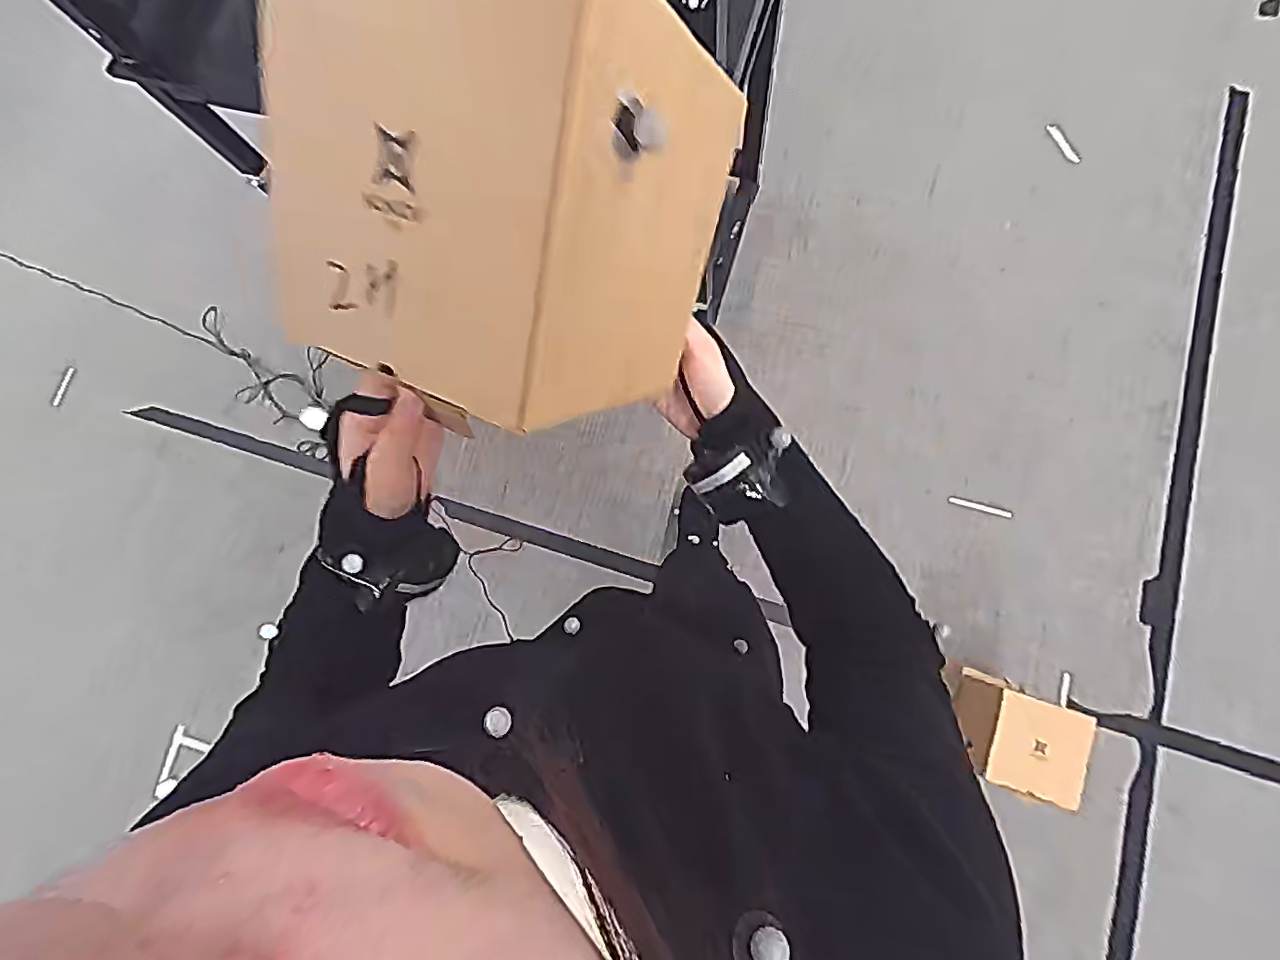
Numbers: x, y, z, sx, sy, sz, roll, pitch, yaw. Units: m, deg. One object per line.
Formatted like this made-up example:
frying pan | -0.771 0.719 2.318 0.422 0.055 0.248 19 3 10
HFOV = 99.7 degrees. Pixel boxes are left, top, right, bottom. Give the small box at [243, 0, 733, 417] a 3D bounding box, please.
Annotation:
small box | -0.065 -0.153 0.283 0.168 0.176 0.179 23 115 20

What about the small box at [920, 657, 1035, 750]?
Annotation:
small box | 0.772 0.532 1.242 0.168 0.176 0.179 21 84 10

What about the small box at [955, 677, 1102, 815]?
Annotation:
small box | 0.761 0.517 1.079 0.168 0.176 0.179 17 82 9
